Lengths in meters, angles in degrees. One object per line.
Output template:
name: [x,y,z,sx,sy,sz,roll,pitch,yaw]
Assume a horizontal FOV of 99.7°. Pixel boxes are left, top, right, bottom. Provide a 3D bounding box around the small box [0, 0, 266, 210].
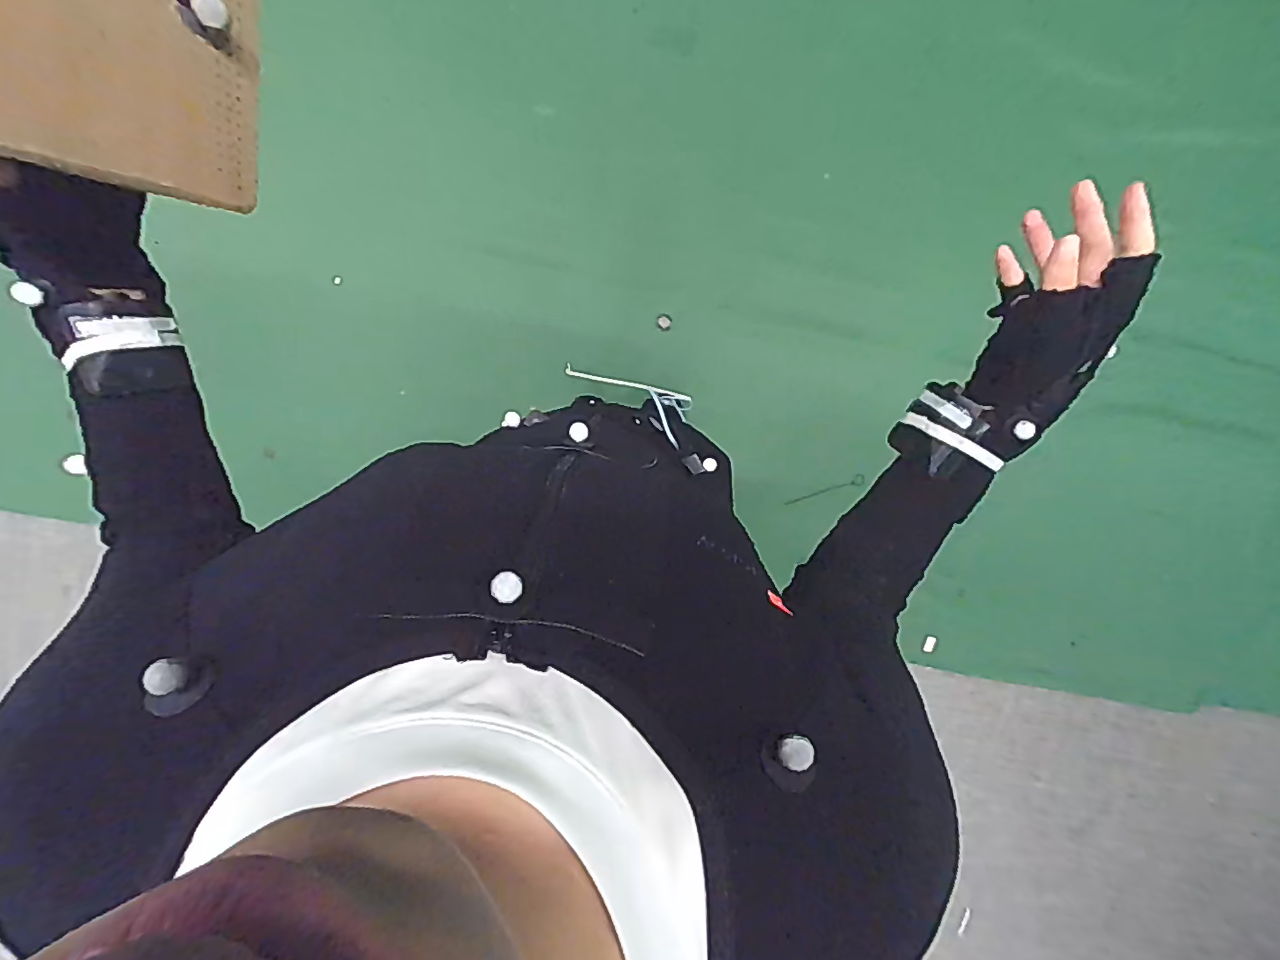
small box: [-0.293,-0.239,0.224,0.168,0.176,0.179,16,106,5]
